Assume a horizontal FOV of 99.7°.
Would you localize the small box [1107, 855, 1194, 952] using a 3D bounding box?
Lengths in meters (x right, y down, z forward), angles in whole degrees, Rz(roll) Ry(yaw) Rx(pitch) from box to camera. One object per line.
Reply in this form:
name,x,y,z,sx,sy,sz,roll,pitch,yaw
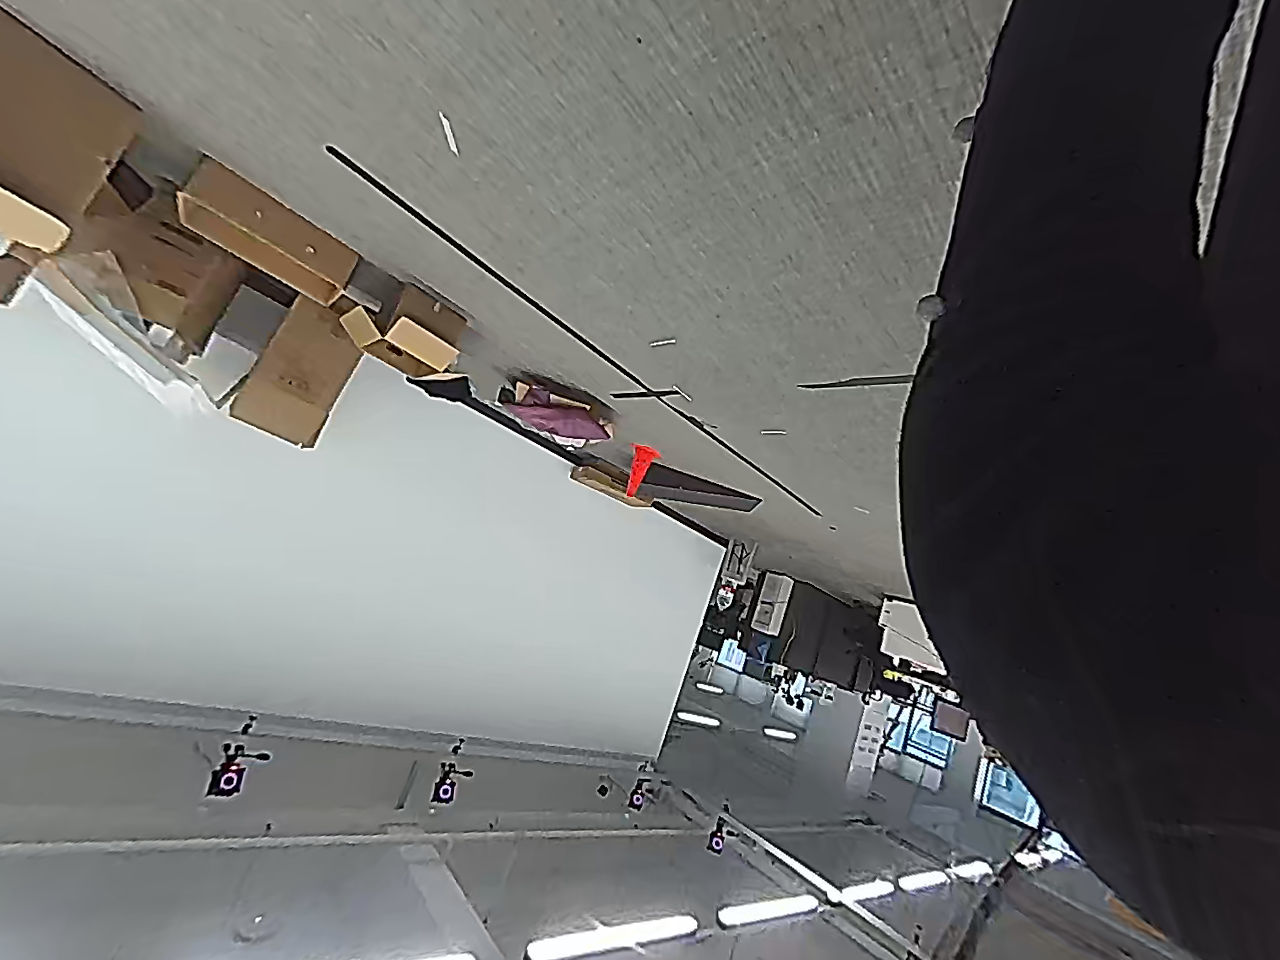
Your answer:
small box,1.625,1.336,1.718,0.168,0.176,0.179,26,168,-35
